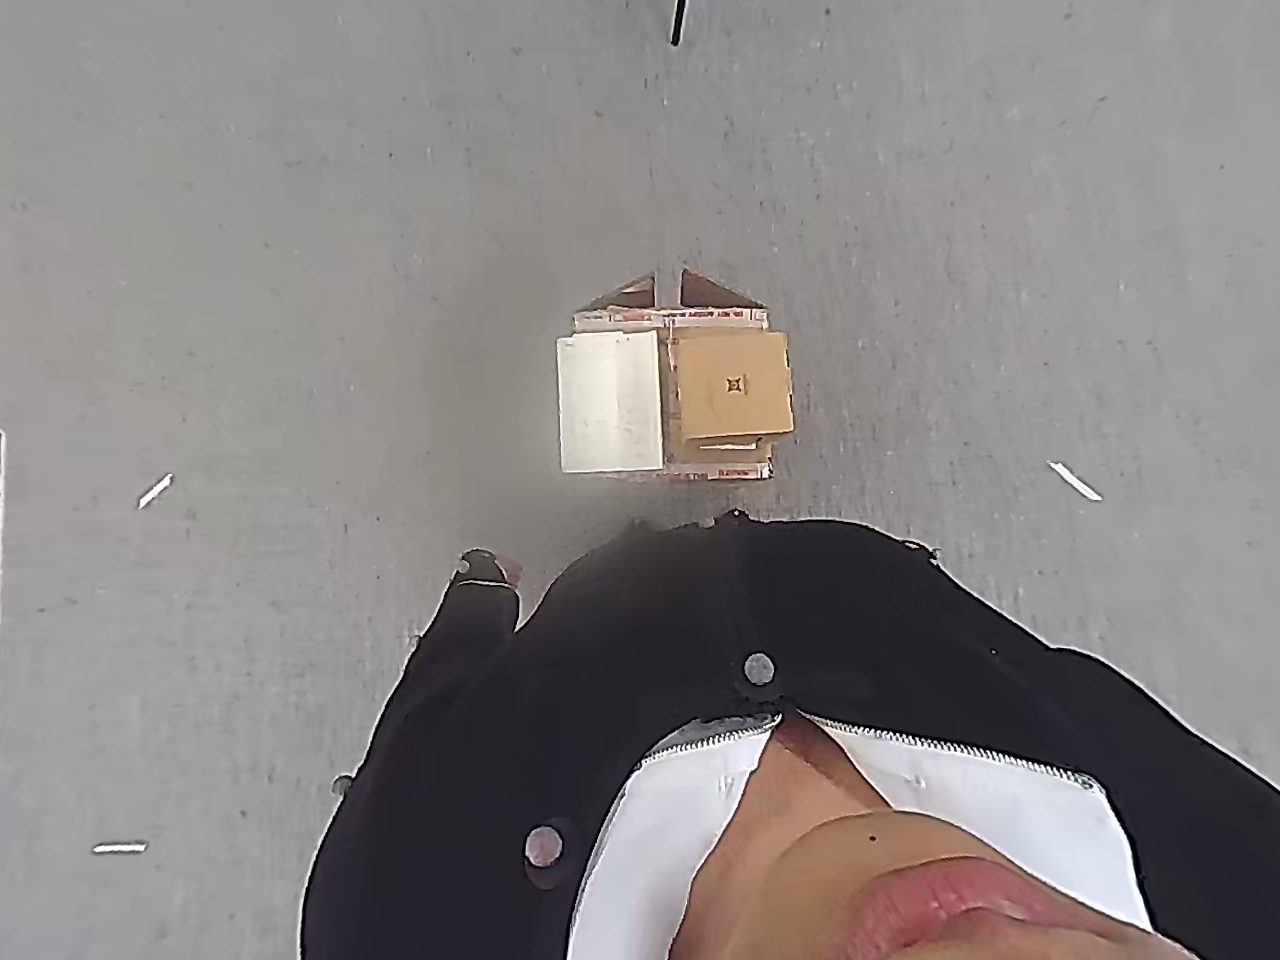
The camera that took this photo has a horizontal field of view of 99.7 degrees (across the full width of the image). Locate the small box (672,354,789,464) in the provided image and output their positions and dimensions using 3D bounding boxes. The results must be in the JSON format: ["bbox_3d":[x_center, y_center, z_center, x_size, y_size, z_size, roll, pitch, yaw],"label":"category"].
[{"bbox_3d":[0.153,-0.119,0.966,0.179,0.176,0.168,-5,87,2],"label":"small box"}]
